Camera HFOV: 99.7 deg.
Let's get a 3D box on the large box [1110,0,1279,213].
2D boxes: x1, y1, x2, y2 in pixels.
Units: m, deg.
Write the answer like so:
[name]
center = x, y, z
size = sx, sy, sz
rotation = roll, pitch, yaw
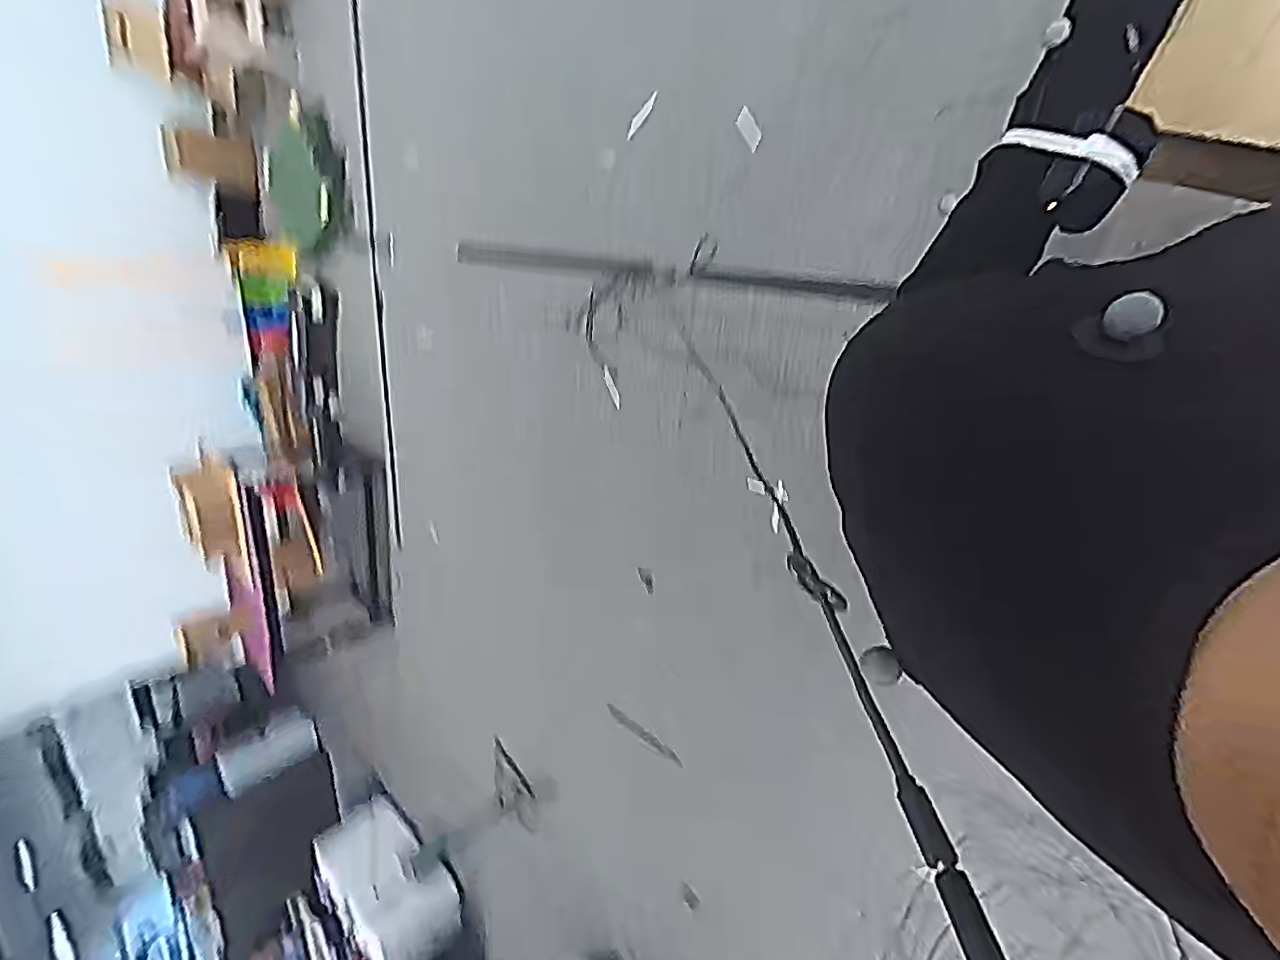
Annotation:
[large box]
center = 0.607, -0.329, 0.328
size = 0.408, 0.320, 0.320
rotation = 31, 125, 28
